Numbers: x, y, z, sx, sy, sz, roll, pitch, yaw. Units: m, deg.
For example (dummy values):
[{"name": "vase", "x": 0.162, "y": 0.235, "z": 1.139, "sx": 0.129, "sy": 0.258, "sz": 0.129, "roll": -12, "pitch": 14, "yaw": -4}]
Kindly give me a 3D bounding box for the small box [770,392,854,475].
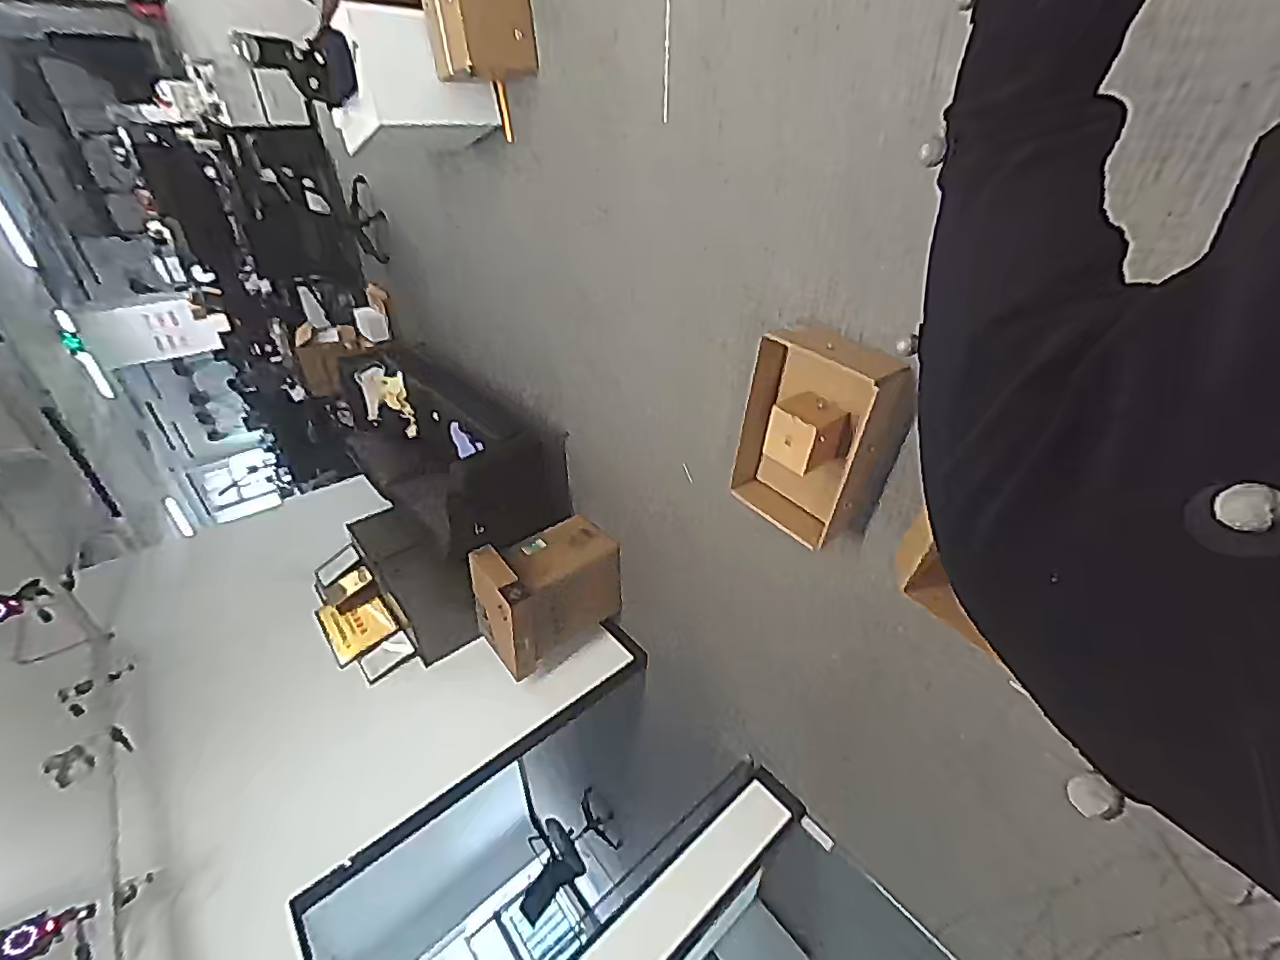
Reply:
[{"name": "small box", "x": 0.535, "y": -0.150, "z": 1.683, "sx": 0.168, "sy": 0.176, "sz": 0.179, "roll": 38, "pitch": 140, "yaw": 37}]
